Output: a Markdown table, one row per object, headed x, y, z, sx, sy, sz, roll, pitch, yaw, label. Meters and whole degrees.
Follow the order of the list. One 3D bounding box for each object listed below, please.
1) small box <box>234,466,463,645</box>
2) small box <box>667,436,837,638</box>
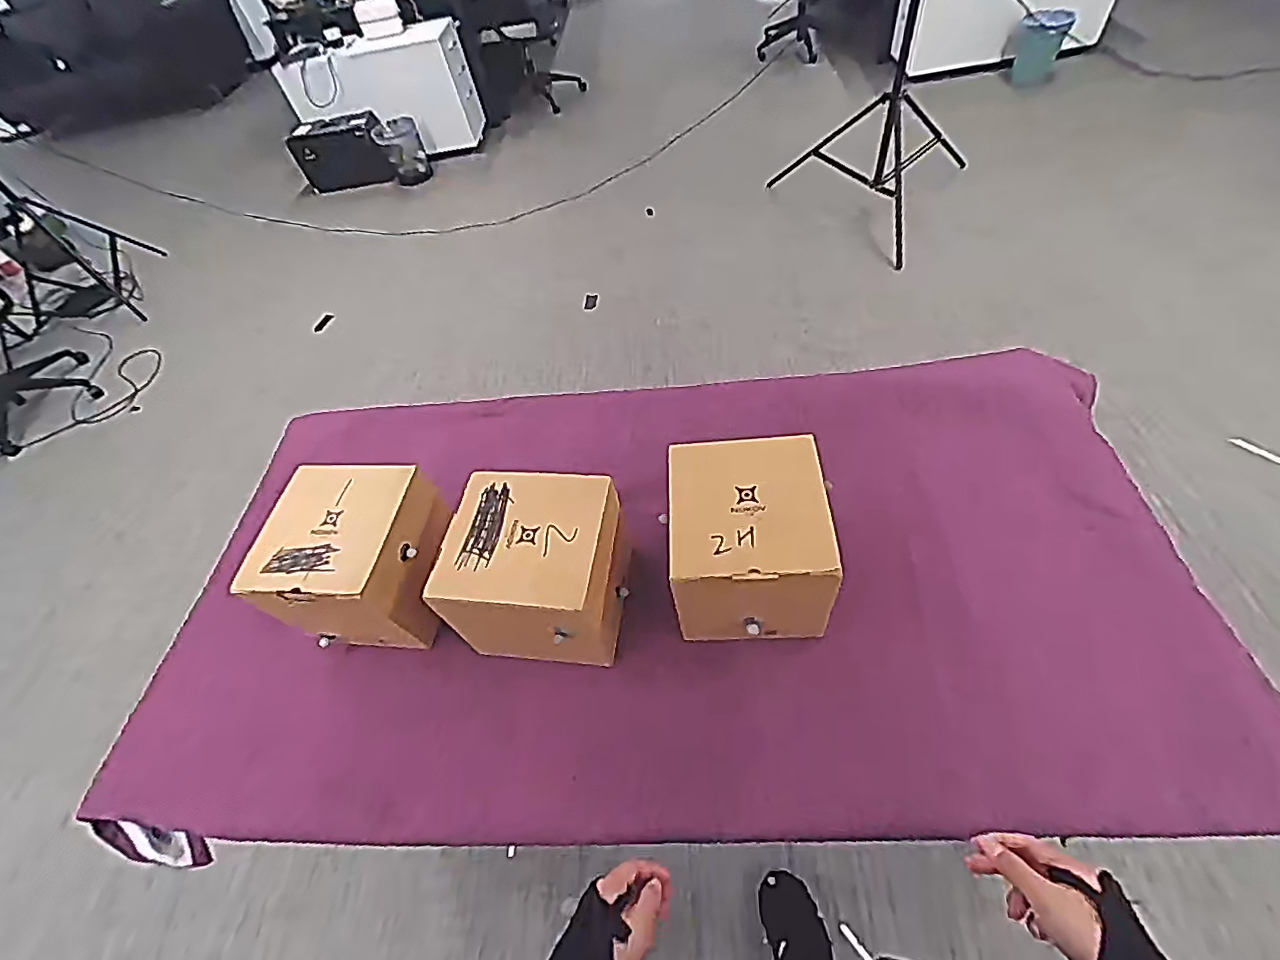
| x | y | z | sx | sy | sz | roll | pitch | yaw | label |
| --- | --- | --- | --- | --- | --- | --- | --- | --- | --- |
| -0.352 | 0.100 | 0.697 | 0.168 | 0.176 | 0.179 | 0 | 54 | 10 | small box |
| 0.122 | 0.071 | 0.636 | 0.168 | 0.176 | 0.179 | -4 | 53 | 8 | small box |
